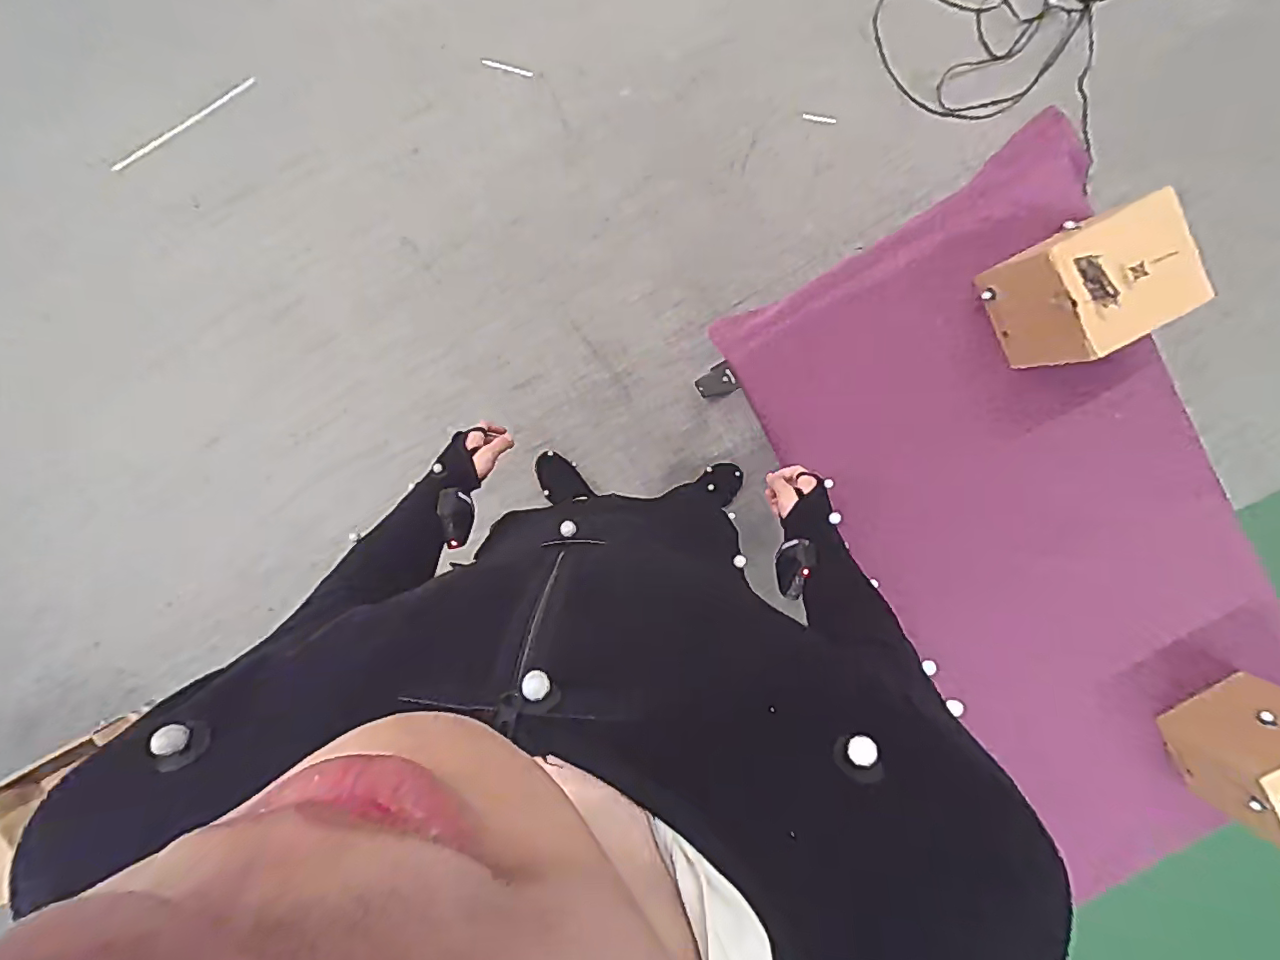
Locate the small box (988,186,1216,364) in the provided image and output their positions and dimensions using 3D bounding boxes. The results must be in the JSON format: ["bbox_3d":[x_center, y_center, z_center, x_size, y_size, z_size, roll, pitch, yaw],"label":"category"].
[{"bbox_3d":[0.655,-0.285,0.796,0.179,0.176,0.168,-28,97,3],"label":"small box"}]

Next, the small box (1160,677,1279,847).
[{"bbox_3d":[1.035,0.459,0.887,0.179,0.176,0.168,-31,95,2],"label":"small box"}]

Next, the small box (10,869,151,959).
[{"bbox_3d":[-1.468,1.176,1.430,0.168,0.176,0.179,-18,95,2],"label":"small box"}]
